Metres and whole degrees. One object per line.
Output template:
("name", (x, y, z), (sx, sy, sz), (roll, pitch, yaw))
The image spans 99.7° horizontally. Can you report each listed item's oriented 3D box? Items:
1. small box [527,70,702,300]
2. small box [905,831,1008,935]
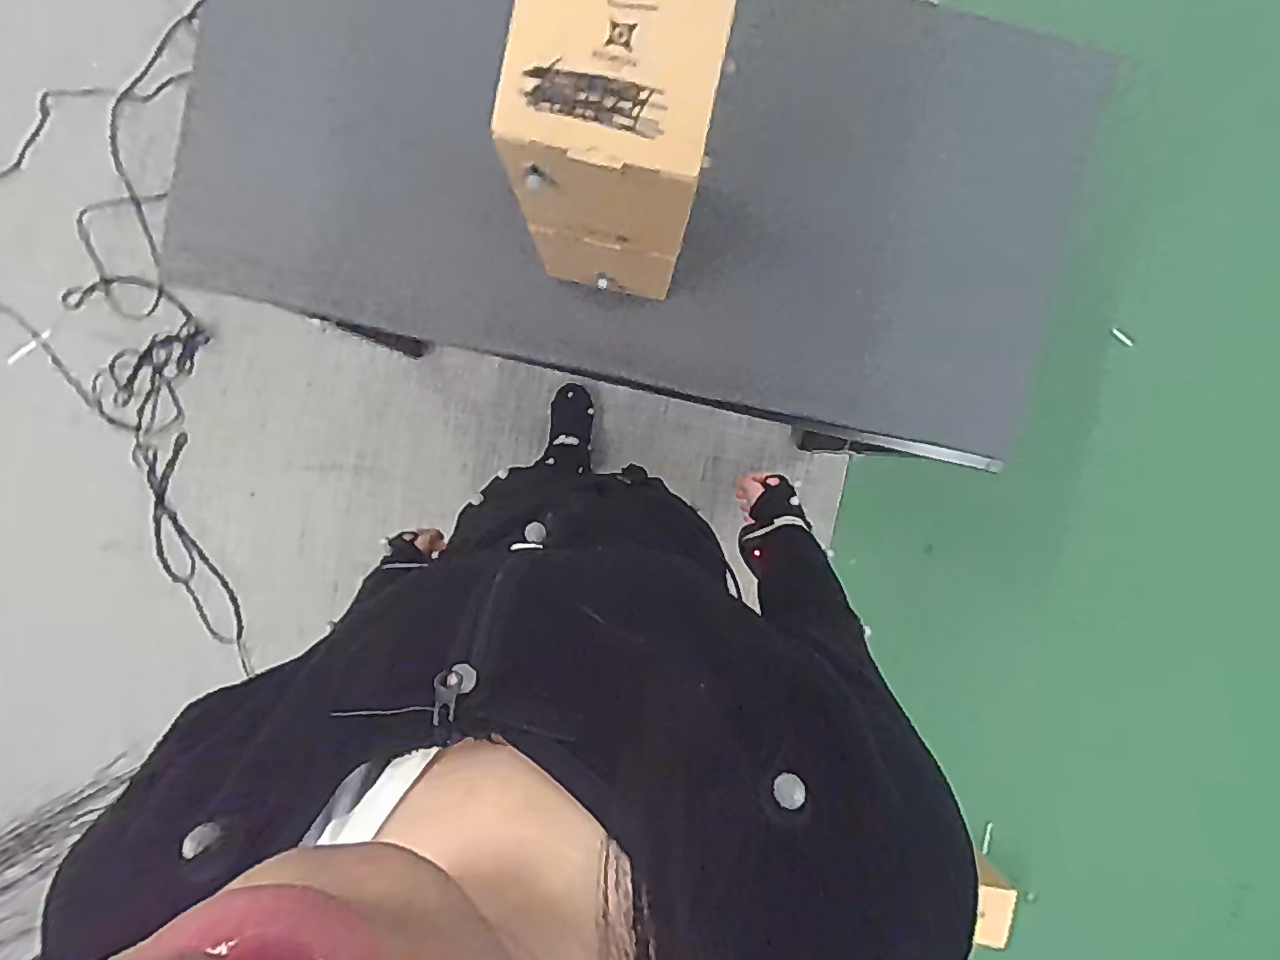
("small box", (-0.032, -0.344, 0.667), (0.168, 0.176, 0.179), (11, 93, -3))
("small box", (0.896, 1.145, 1.546), (0.179, 0.176, 0.168), (9, 94, -3))
